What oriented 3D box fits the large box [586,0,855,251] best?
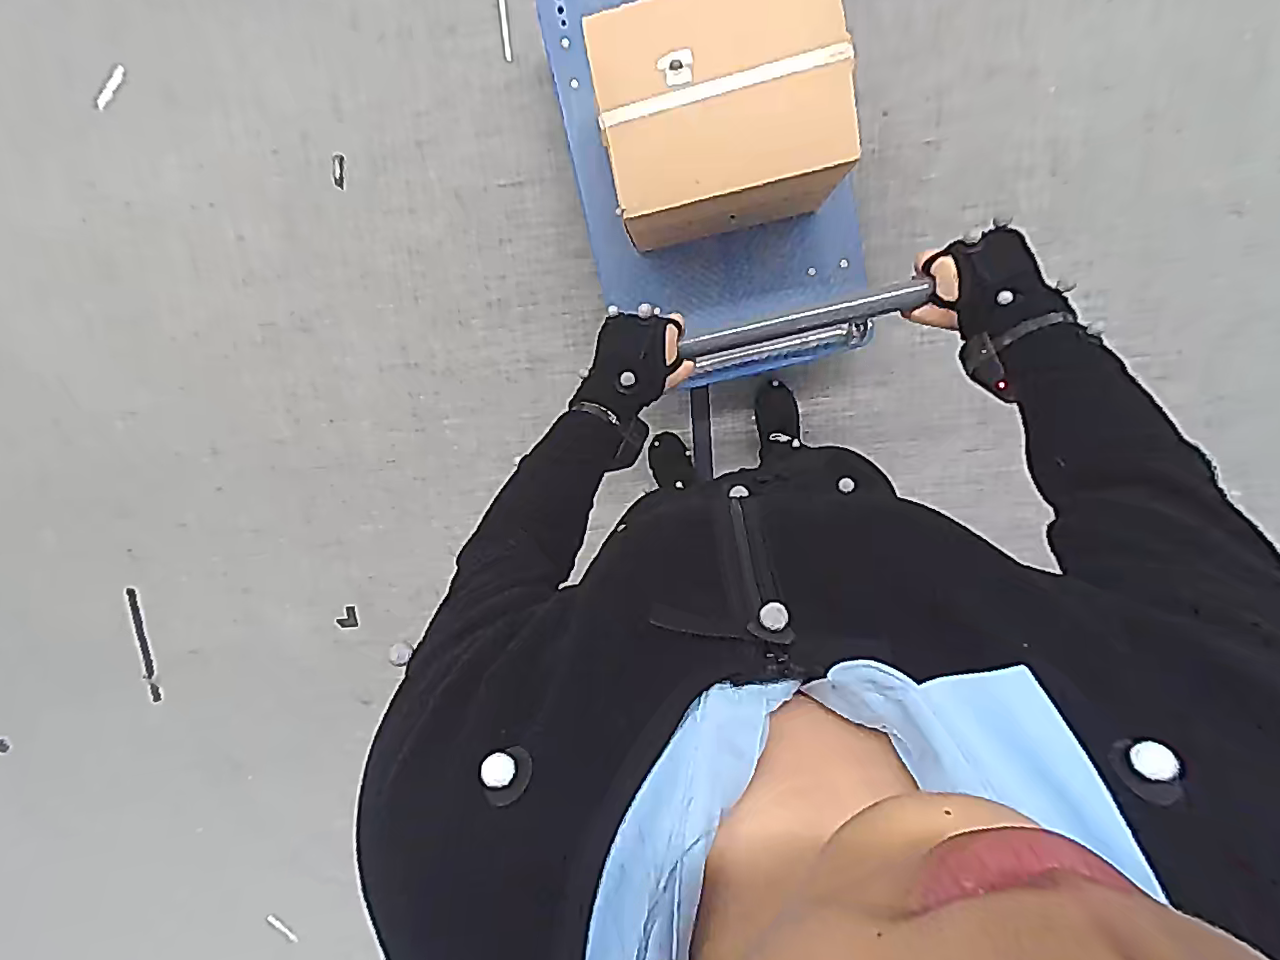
[{"bbox_3d":[0.151,-0.675,1.044,0.408,0.320,0.320,-11,100,8],"label":"large box"}]
